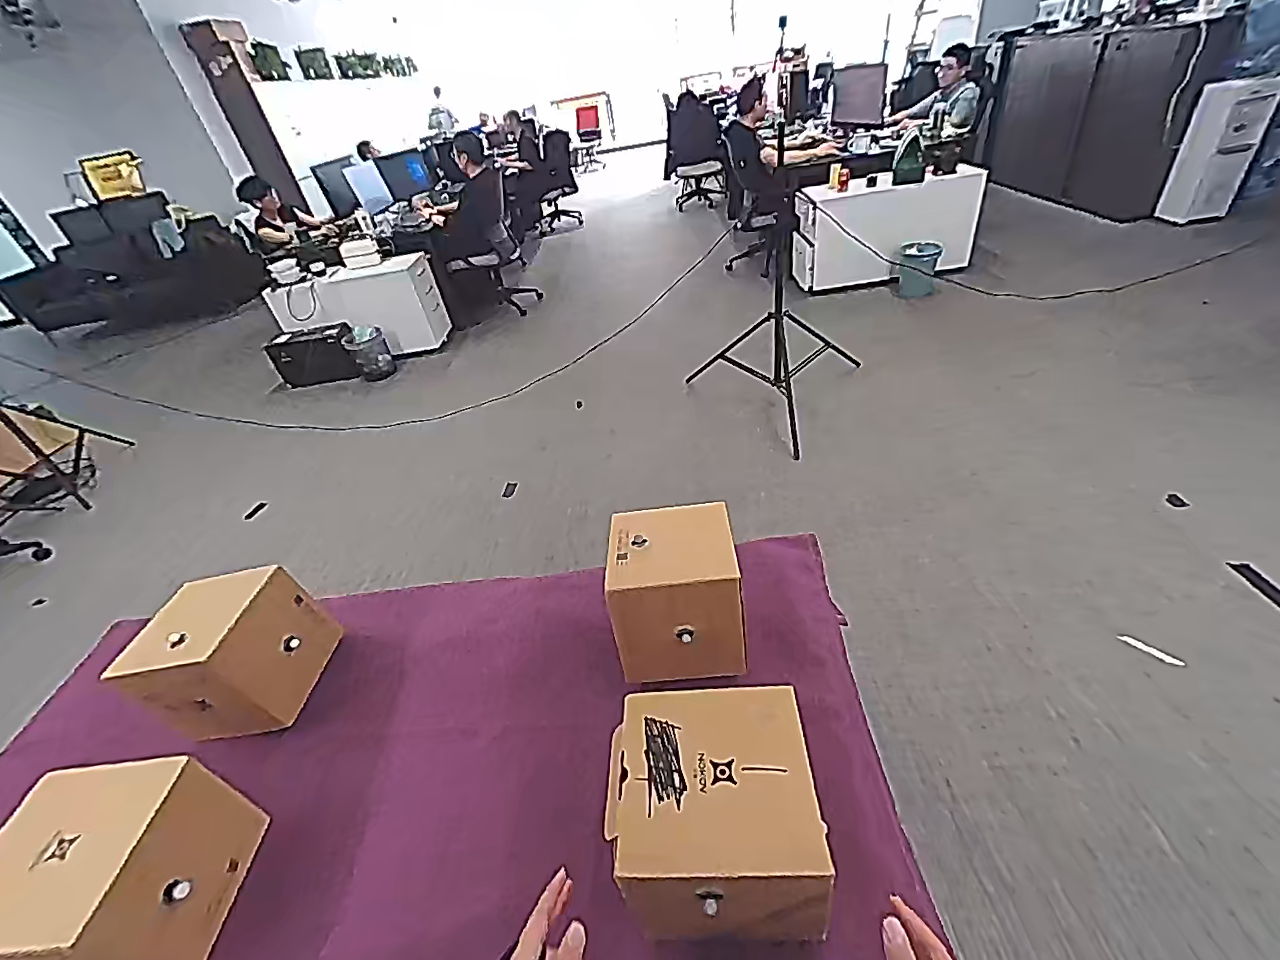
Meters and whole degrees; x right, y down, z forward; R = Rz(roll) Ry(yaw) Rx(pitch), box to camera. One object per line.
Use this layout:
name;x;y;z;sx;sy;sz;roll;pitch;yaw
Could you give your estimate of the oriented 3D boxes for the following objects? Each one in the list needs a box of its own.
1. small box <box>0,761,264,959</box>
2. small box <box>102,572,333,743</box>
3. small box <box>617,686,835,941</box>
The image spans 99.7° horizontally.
small box;-0.557;0.427;0.575;0.179;0.176;0.168;-9;37;3
small box;-0.587;0.254;0.787;0.179;0.168;0.176;-12;35;11
small box;0.082;0.328;0.535;0.179;0.176;0.168;-6;36;6
